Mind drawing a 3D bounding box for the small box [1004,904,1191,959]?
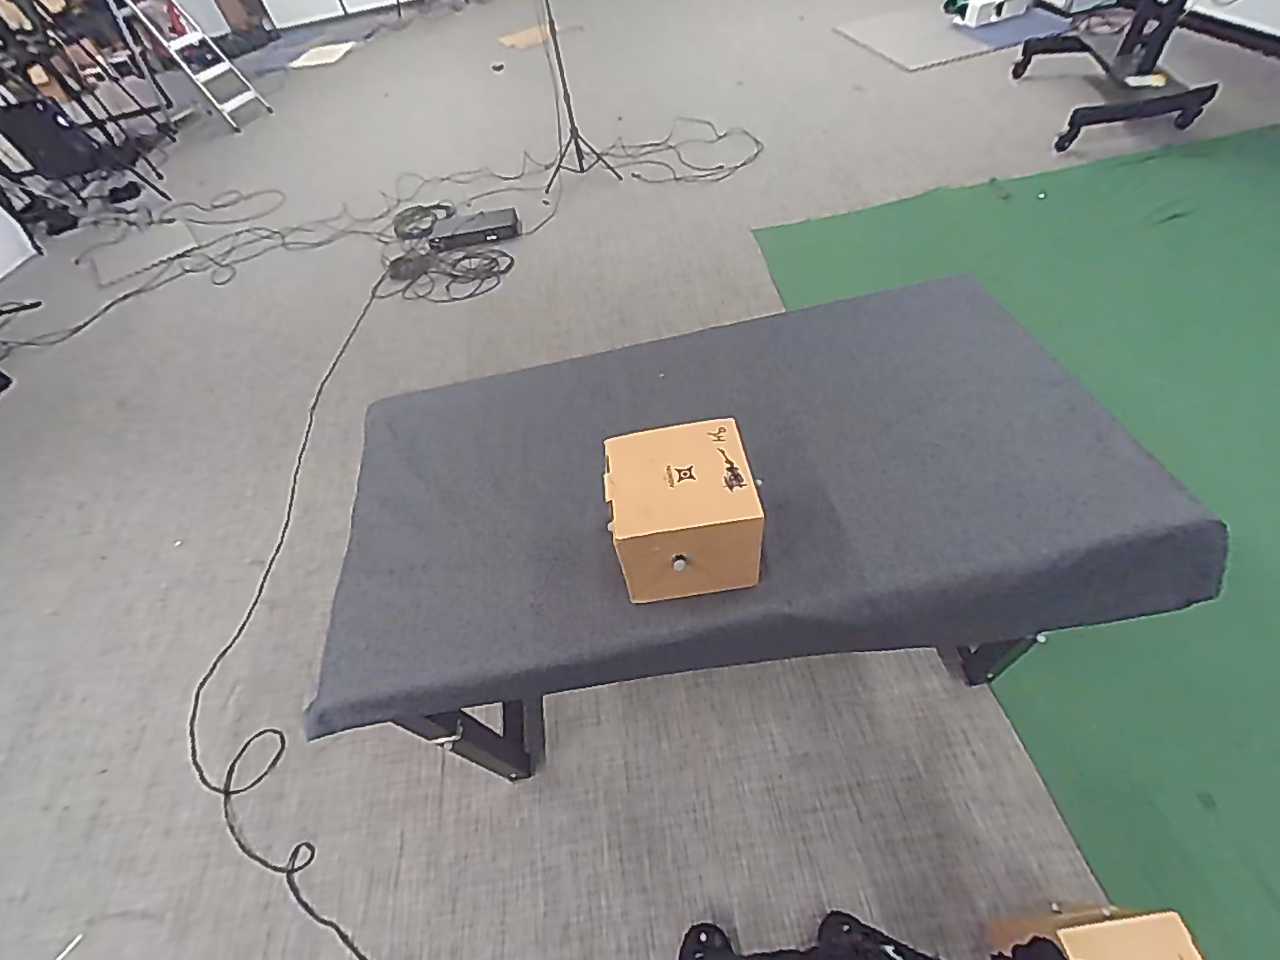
[{"bbox_3d":[0.696,0.747,0.807,0.179,0.176,0.168,-10,51,3],"label":"small box"}]

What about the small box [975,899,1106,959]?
[{"bbox_3d":[0.729,0.843,0.937,0.179,0.176,0.168,-12,51,1],"label":"small box"}]

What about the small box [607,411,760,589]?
[{"bbox_3d":[0.058,0.034,0.732,0.179,0.176,0.168,-9,52,3],"label":"small box"}]
